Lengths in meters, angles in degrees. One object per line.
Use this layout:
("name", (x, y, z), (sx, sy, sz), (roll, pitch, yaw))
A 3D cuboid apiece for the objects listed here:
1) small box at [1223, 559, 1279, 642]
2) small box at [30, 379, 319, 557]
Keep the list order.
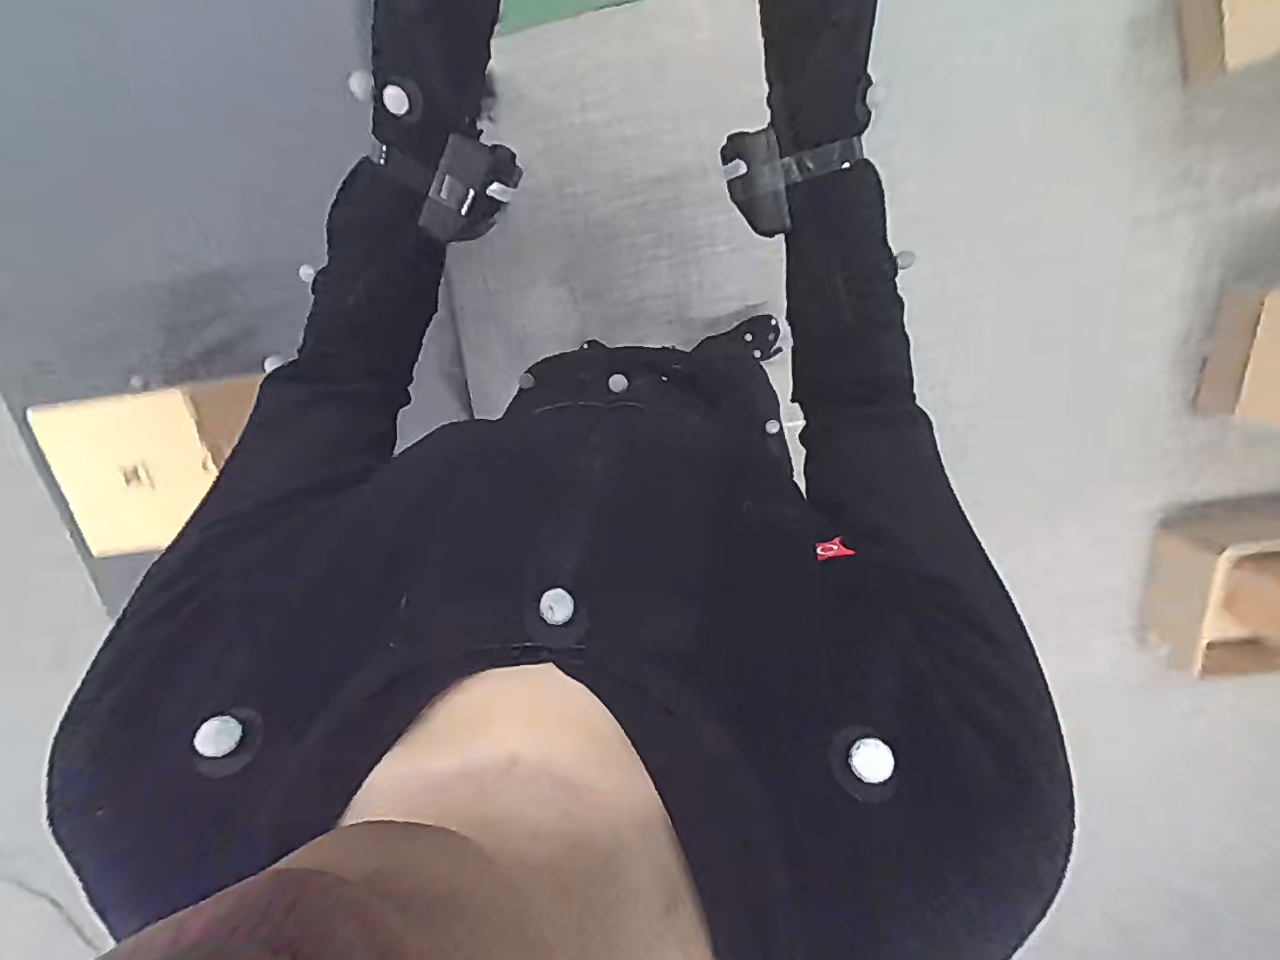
("small box", (1.710, 0.318, 1.419), (0.179, 0.176, 0.168), (-5, 107, 1))
("small box", (-0.539, -0.023, 0.655), (0.179, 0.176, 0.168), (-8, 106, 3))
